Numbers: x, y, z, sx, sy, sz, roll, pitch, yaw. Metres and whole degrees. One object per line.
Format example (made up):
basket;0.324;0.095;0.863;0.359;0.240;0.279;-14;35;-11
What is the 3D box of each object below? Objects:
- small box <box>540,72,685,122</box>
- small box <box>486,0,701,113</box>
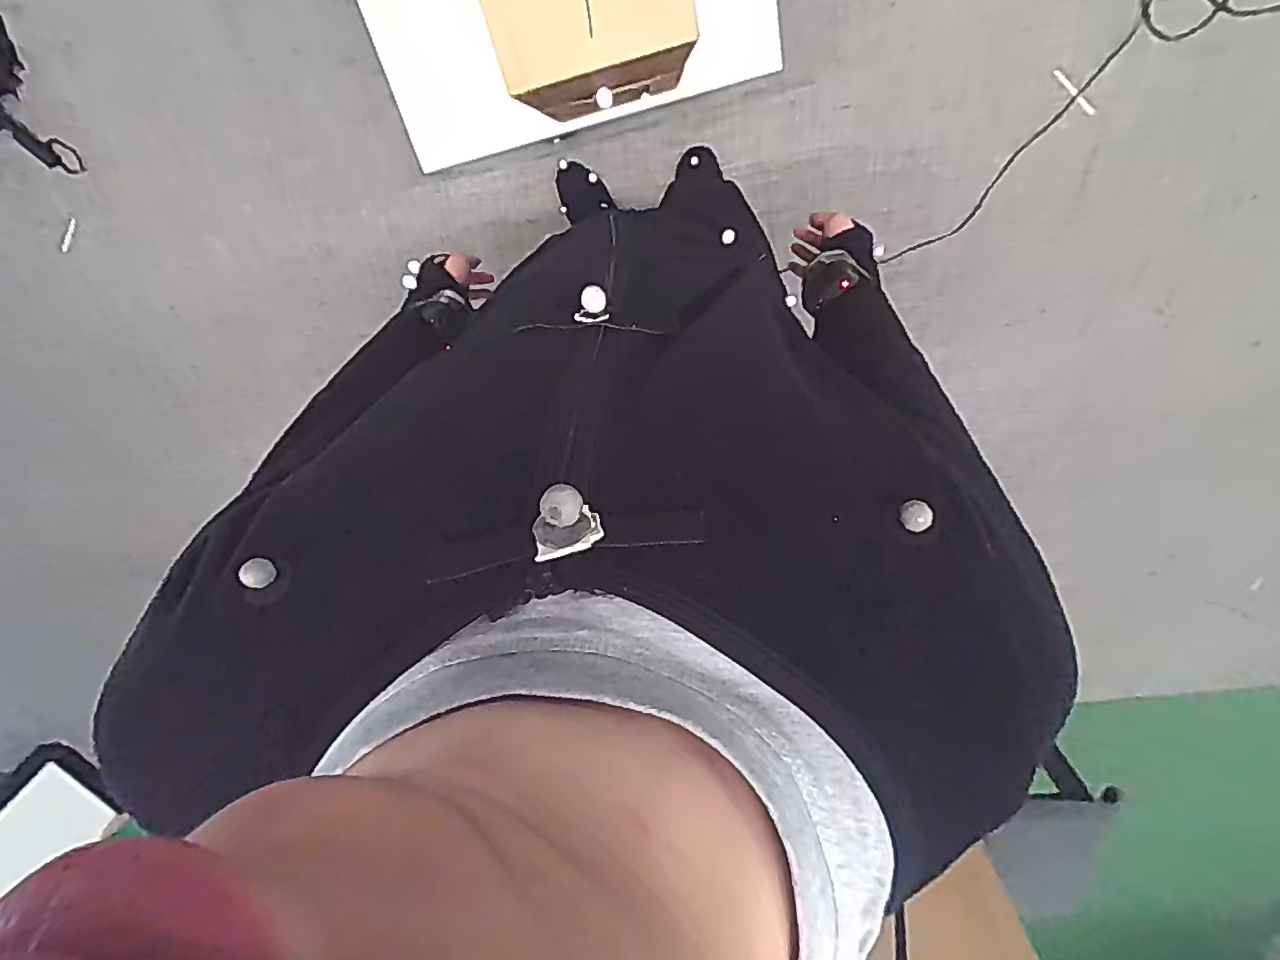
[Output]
small box;-0.047;-0.530;0.619;0.168;0.176;0.179;-12;118;7
small box;-0.047;-0.449;0.475;0.168;0.176;0.179;-11;120;7
